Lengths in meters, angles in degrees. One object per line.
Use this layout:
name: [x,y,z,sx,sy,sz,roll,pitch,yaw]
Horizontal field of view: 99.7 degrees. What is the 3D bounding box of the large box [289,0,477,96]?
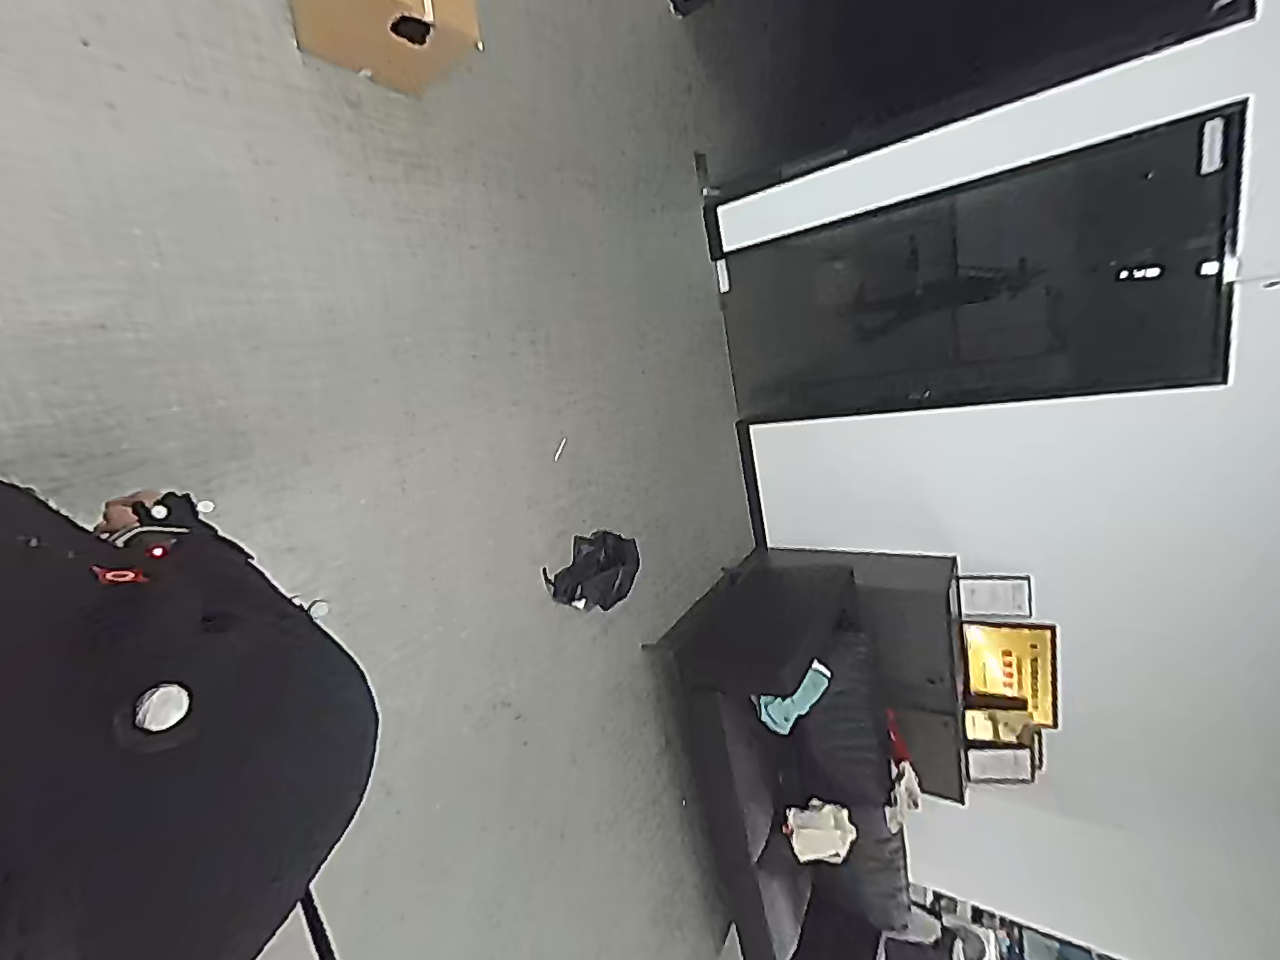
large box: [-0.650,-1.265,1.319,0.320,0.320,0.408,-19,105,-52]
